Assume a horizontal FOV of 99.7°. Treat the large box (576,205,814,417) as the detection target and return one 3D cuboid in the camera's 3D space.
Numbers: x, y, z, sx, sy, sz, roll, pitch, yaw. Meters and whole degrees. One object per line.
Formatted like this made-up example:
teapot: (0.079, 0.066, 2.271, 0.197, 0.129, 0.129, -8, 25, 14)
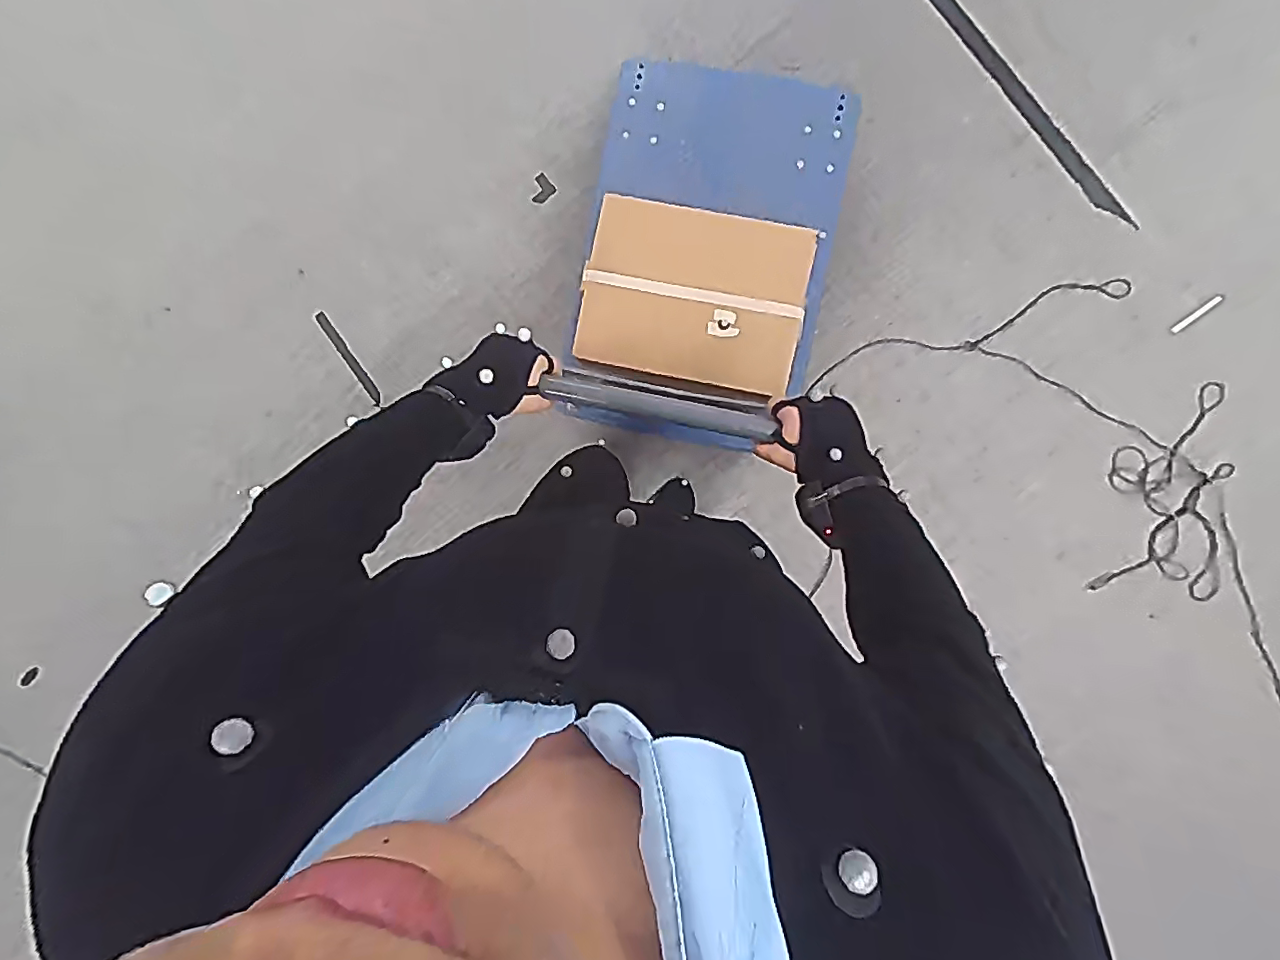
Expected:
large box: (0.104, -0.334, 1.155, 0.408, 0.320, 0.320, 11, 92, 3)
